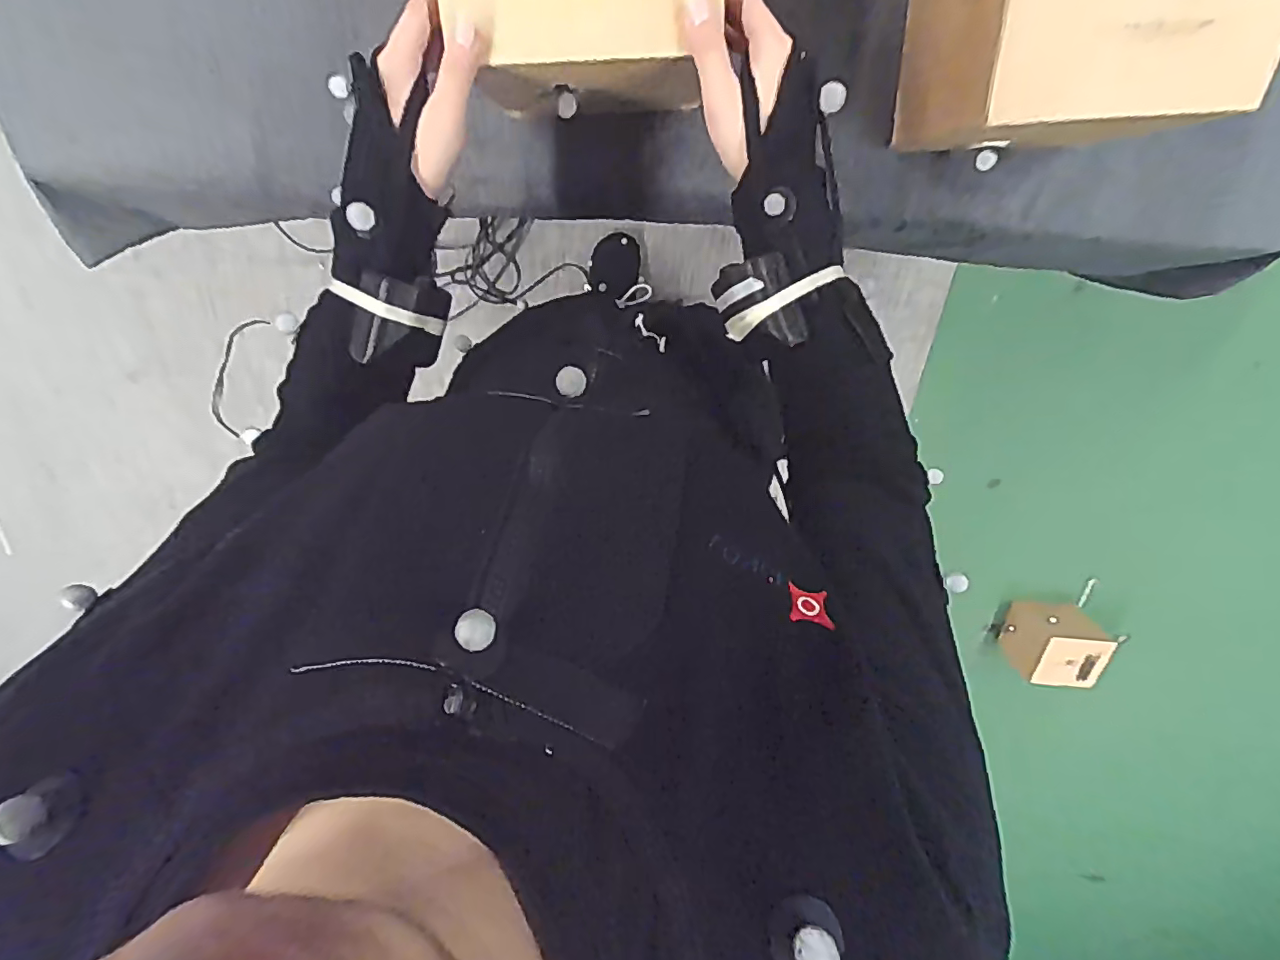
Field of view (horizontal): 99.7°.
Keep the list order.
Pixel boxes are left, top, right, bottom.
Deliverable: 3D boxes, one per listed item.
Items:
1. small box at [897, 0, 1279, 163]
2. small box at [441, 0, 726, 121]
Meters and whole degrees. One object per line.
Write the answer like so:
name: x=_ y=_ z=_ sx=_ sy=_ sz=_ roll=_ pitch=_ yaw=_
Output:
small box: x=0.302 y=-0.336 z=0.379 sx=0.168 sy=0.176 sz=0.179 roll=-2 pitch=115 yaw=4
small box: x=-0.032 y=-0.352 z=0.358 sx=0.168 sy=0.176 sz=0.179 roll=-2 pitch=114 yaw=1
